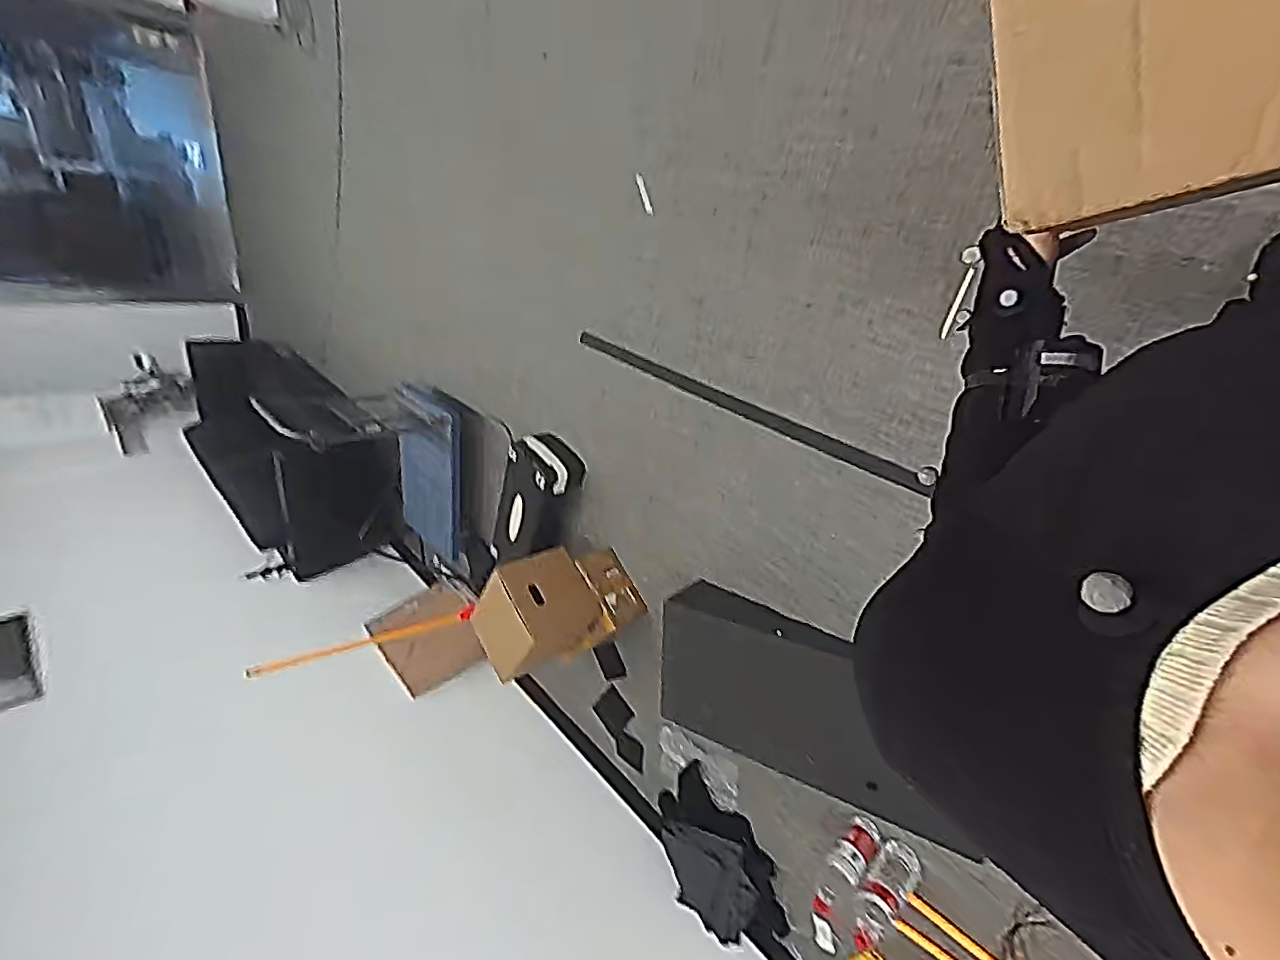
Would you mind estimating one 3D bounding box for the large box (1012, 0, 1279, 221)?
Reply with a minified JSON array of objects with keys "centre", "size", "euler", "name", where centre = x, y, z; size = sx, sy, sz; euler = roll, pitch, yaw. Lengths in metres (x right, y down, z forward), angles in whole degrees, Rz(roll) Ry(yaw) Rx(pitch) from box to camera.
[{"centre":[0.387,-0.319,0.193],"size":[0.408,0.320,0.320],"euler":[0,110,42],"name":"large box"}]
